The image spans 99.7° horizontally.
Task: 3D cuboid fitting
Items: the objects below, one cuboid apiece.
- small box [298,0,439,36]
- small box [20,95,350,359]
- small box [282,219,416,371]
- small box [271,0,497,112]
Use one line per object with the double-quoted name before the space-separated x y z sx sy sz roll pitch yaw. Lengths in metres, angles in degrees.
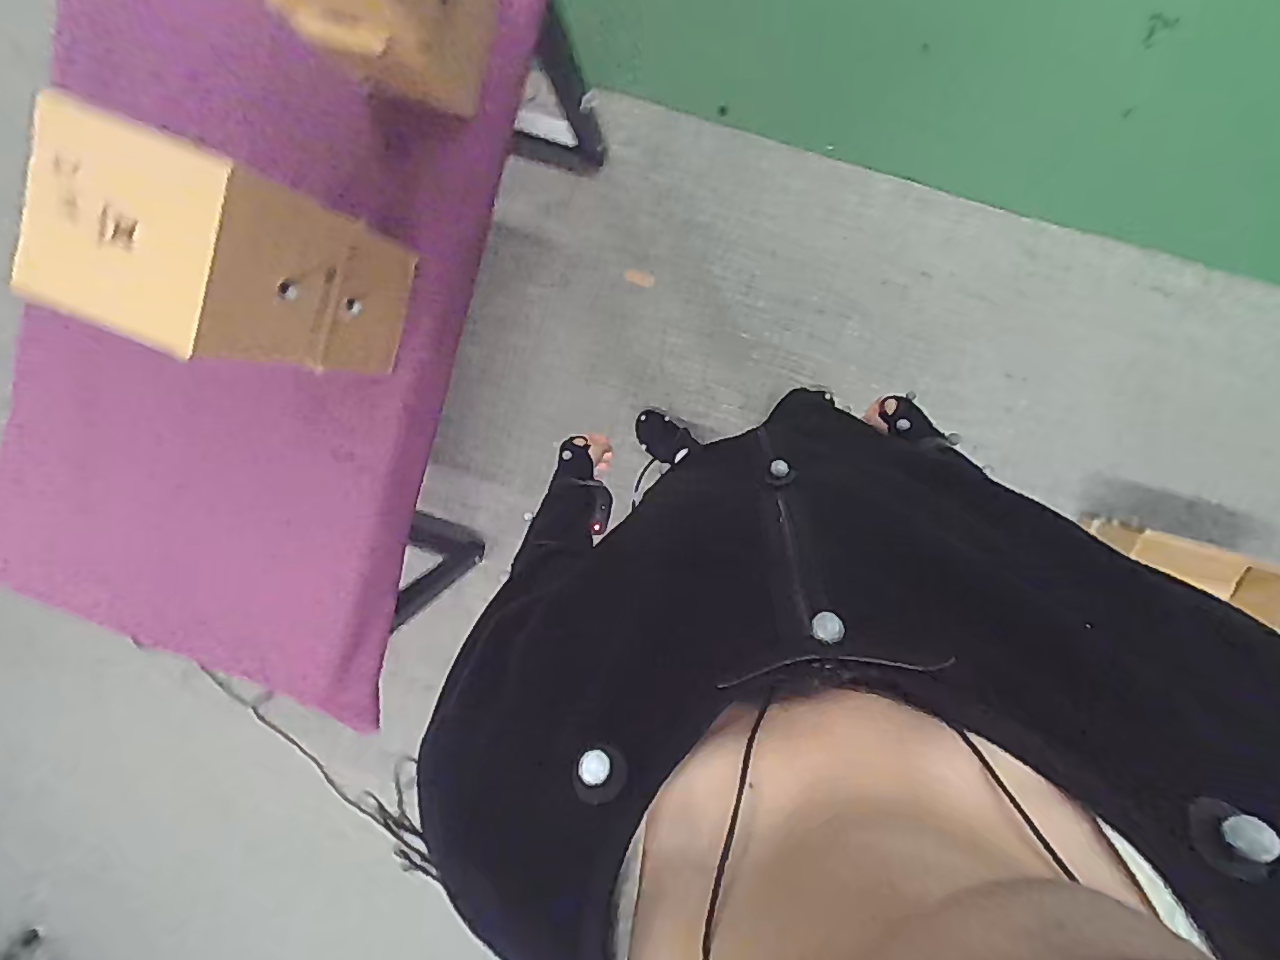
"small box" -0.281 -0.539 0.468 0.179 0.176 0.168 19 102 3
"small box" -0.429 -0.227 0.537 0.179 0.176 0.168 22 101 2
"small box" -0.419 -0.248 0.699 0.168 0.176 0.179 19 100 3
"small box" -0.282 -0.574 0.630 0.168 0.176 0.179 17 101 2
